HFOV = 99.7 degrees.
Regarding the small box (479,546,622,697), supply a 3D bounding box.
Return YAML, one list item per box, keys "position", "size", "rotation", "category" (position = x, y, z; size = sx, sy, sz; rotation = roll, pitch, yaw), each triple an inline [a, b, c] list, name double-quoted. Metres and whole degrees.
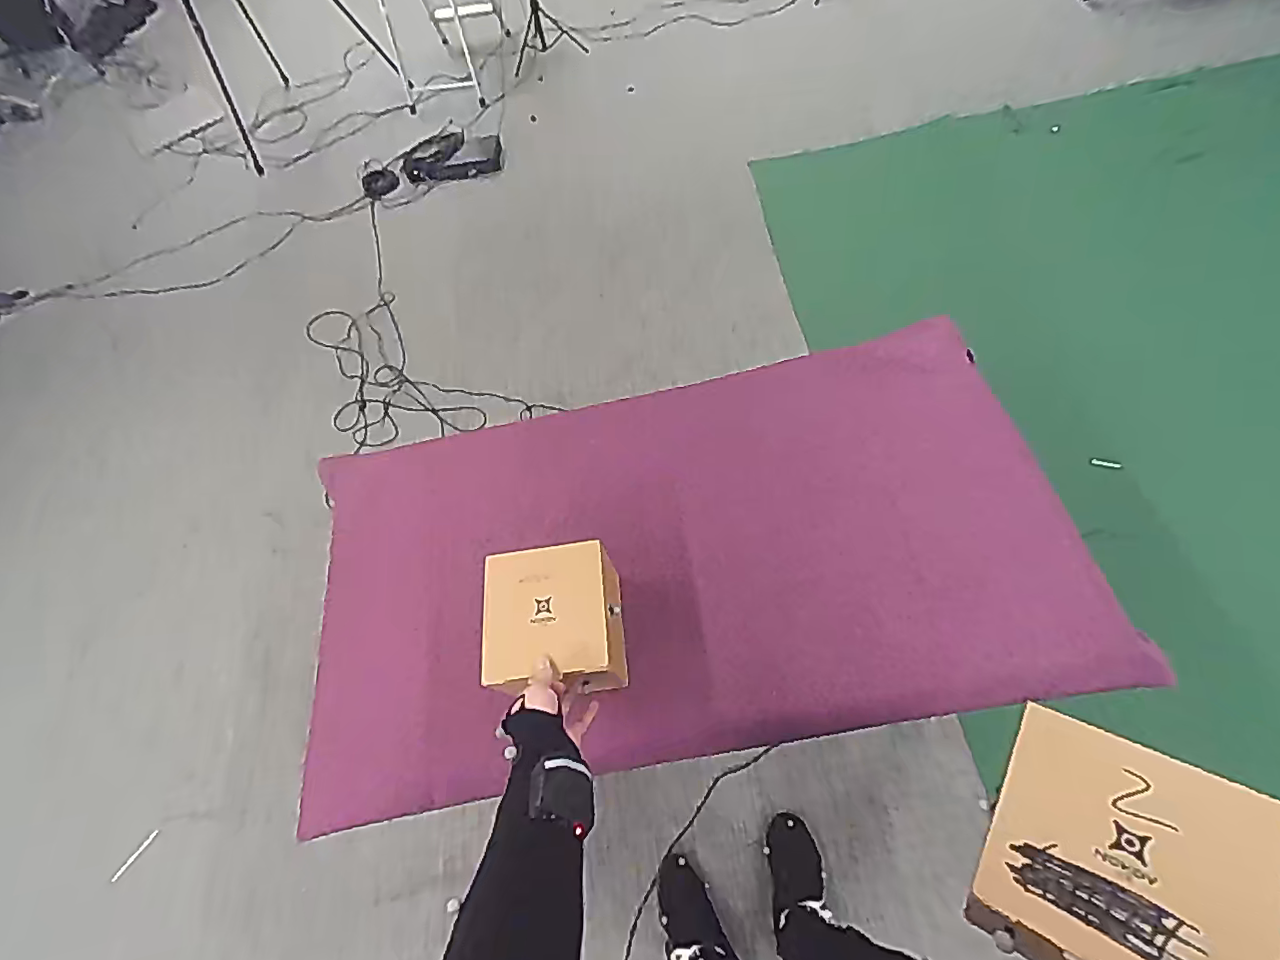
- position: [-0.121, 0.214, 0.787]
  size: [0.168, 0.176, 0.179]
  rotation: [-8, 61, 3]
  category: "small box"
